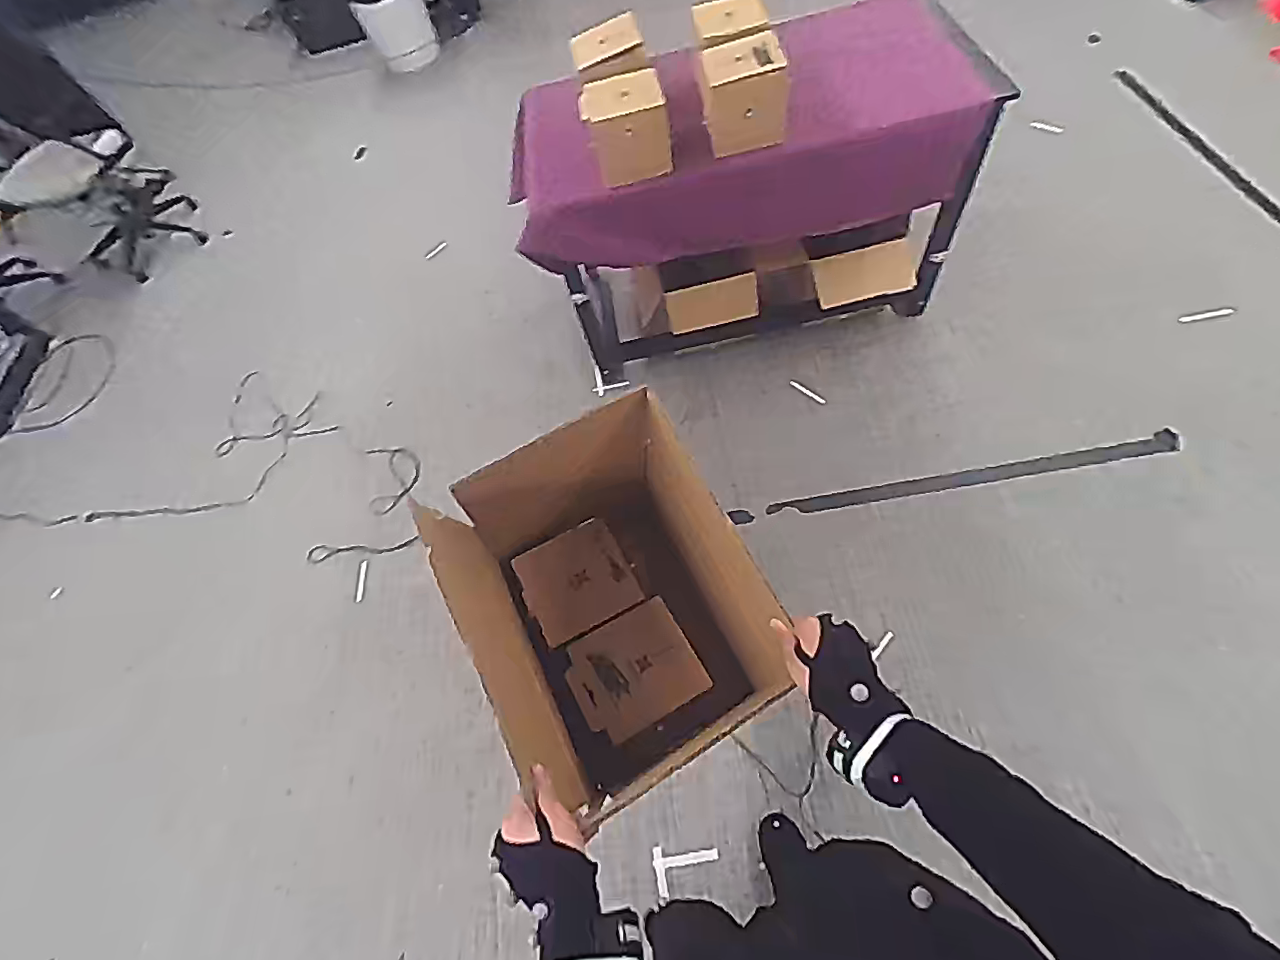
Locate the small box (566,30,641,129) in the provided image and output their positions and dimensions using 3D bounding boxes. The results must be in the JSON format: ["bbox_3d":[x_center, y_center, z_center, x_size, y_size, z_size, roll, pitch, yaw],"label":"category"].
[{"bbox_3d":[-0.086,-1.052,1.450,0.179,0.176,0.168,-13,61,3],"label":"small box"}]

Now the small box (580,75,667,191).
[{"bbox_3d":[-0.038,-0.846,1.333,0.179,0.176,0.168,-12,61,4],"label":"small box"}]
